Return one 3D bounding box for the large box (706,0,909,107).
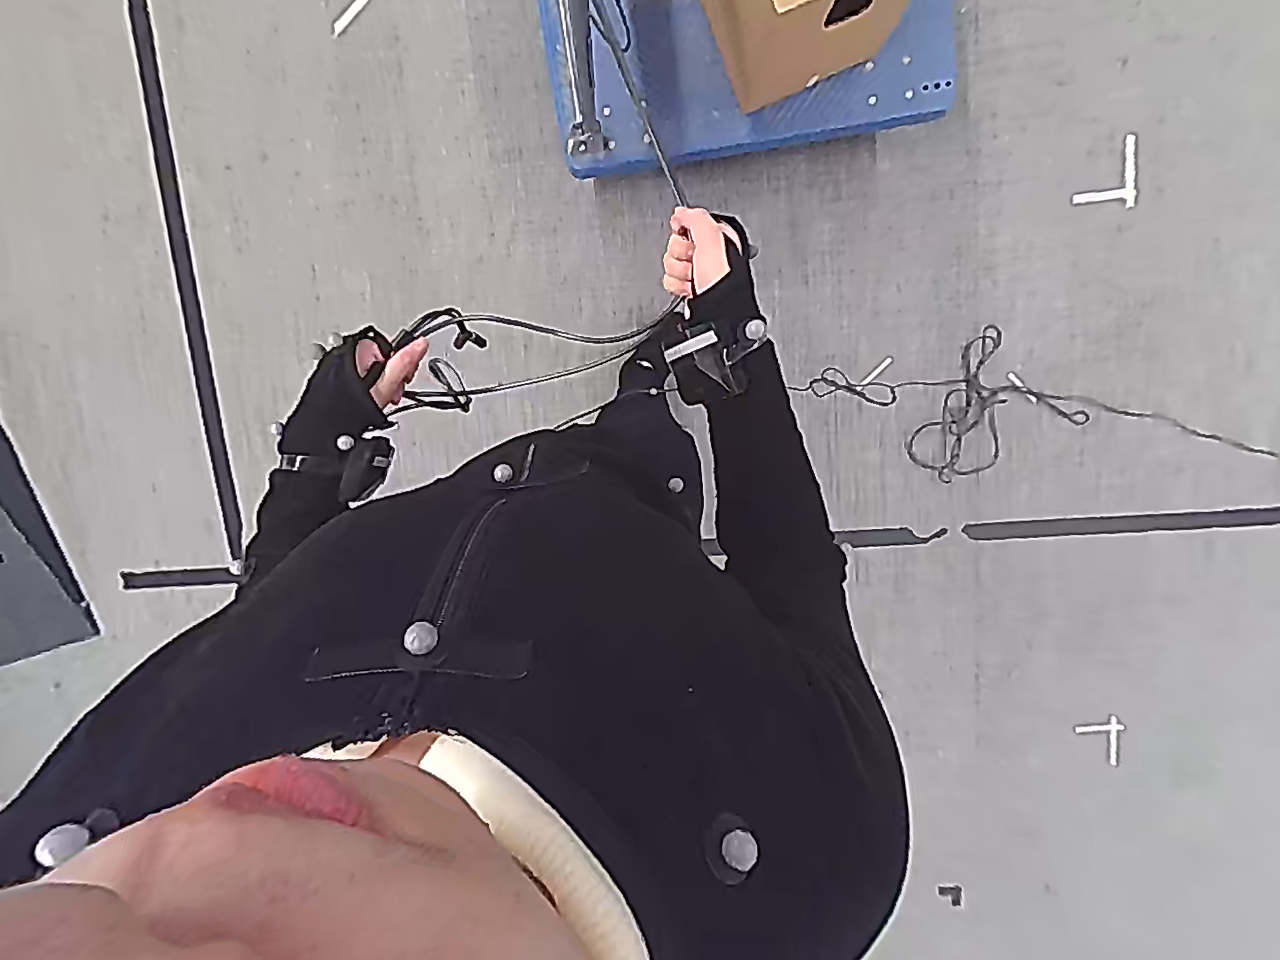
[{"bbox_3d":[0.291,-1.023,0.995,0.320,0.320,0.408,-23,98,5],"label":"large box"}]
